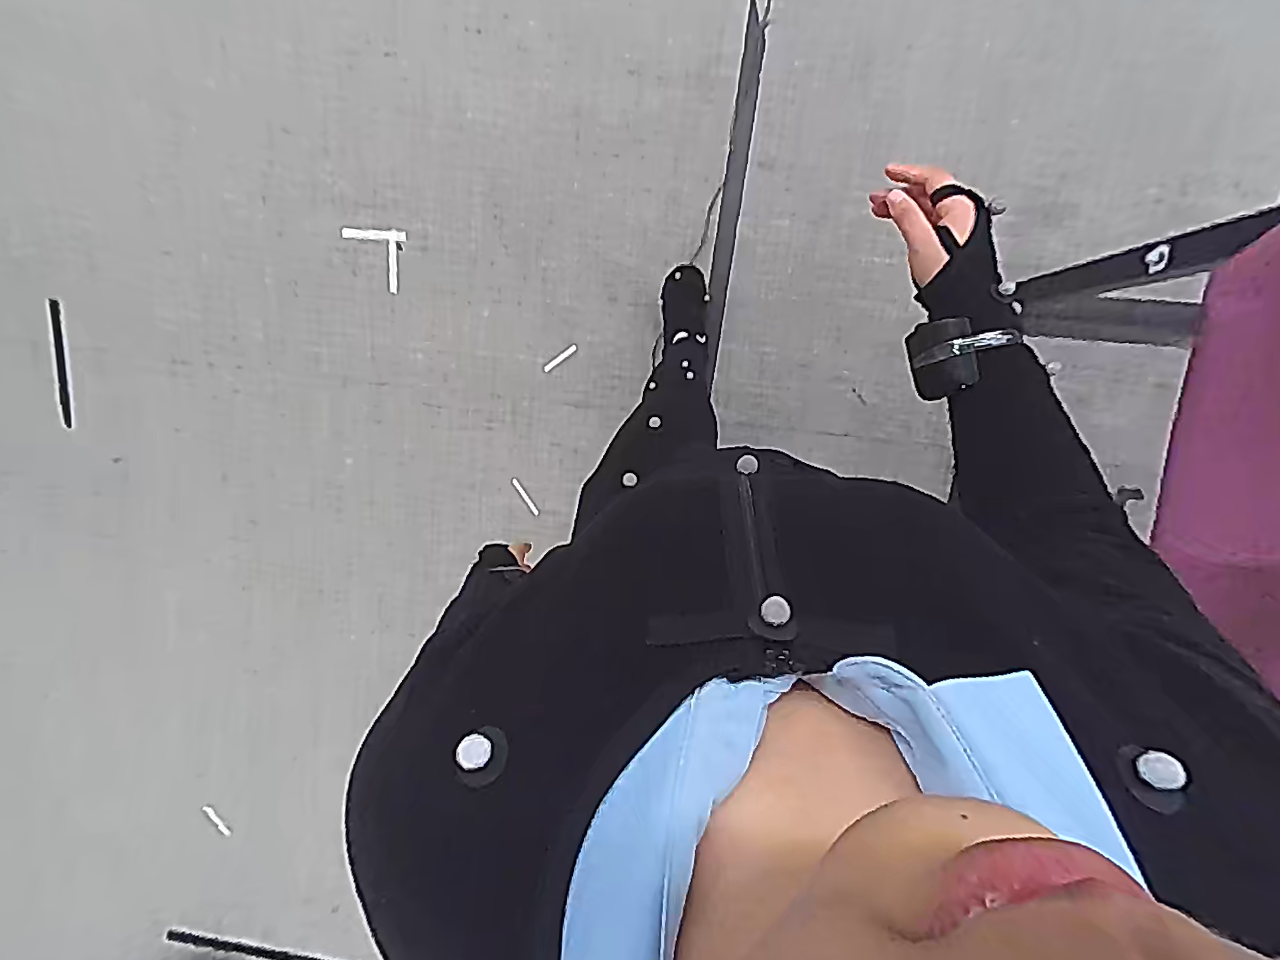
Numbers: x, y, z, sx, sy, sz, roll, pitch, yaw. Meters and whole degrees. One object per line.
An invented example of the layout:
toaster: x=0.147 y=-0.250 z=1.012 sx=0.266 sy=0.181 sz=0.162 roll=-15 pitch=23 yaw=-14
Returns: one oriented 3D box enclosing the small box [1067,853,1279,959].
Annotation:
small box: x=0.720 y=0.634 z=0.709 sx=0.179 sy=0.176 sz=0.168 roll=10 pitch=101 yaw=1
